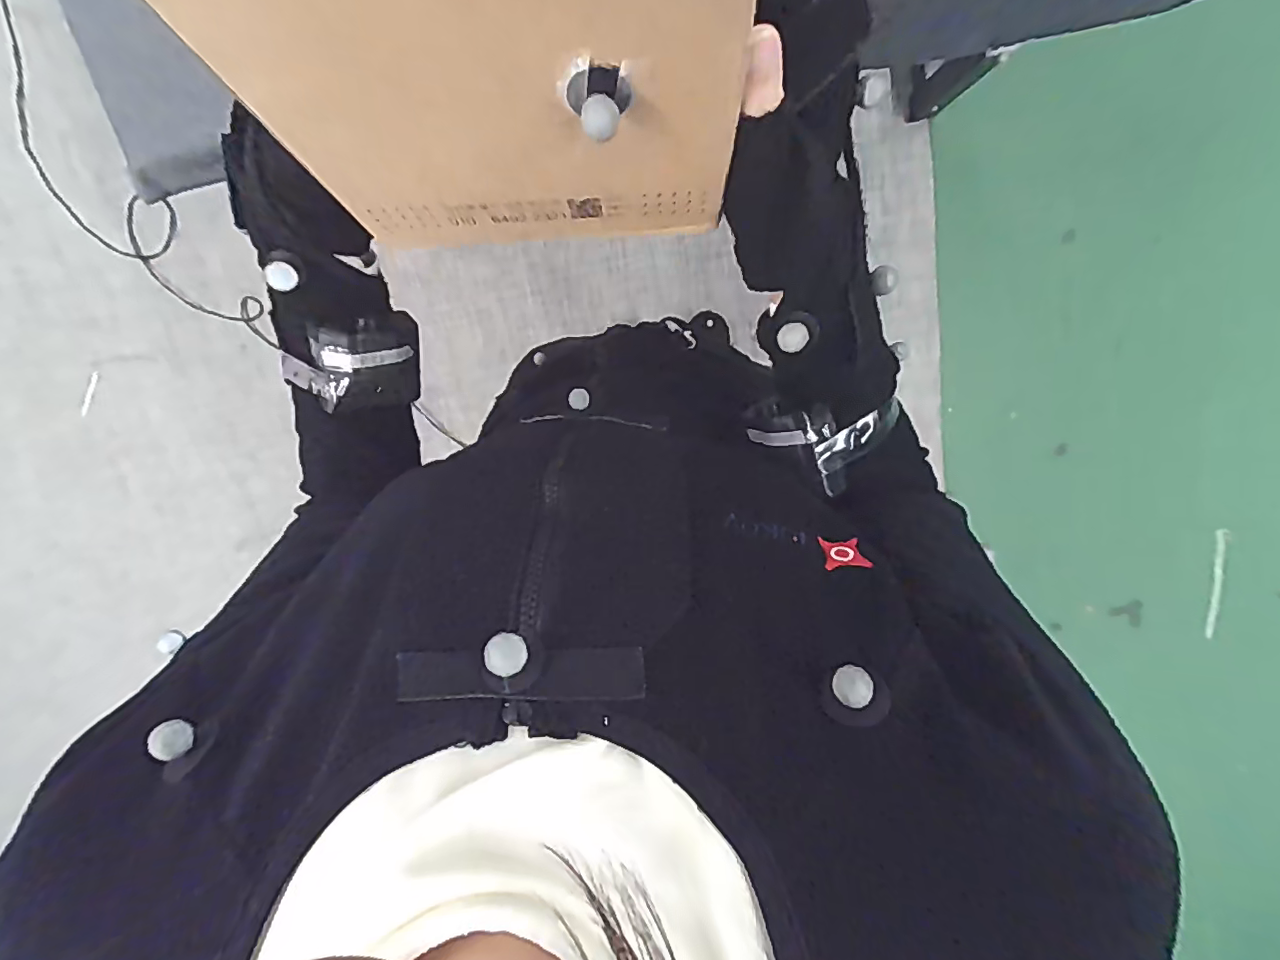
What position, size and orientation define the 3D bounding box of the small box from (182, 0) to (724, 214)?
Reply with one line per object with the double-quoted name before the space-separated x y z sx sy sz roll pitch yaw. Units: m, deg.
"small box" -0.055 -0.220 0.197 0.168 0.176 0.179 -2 83 2
